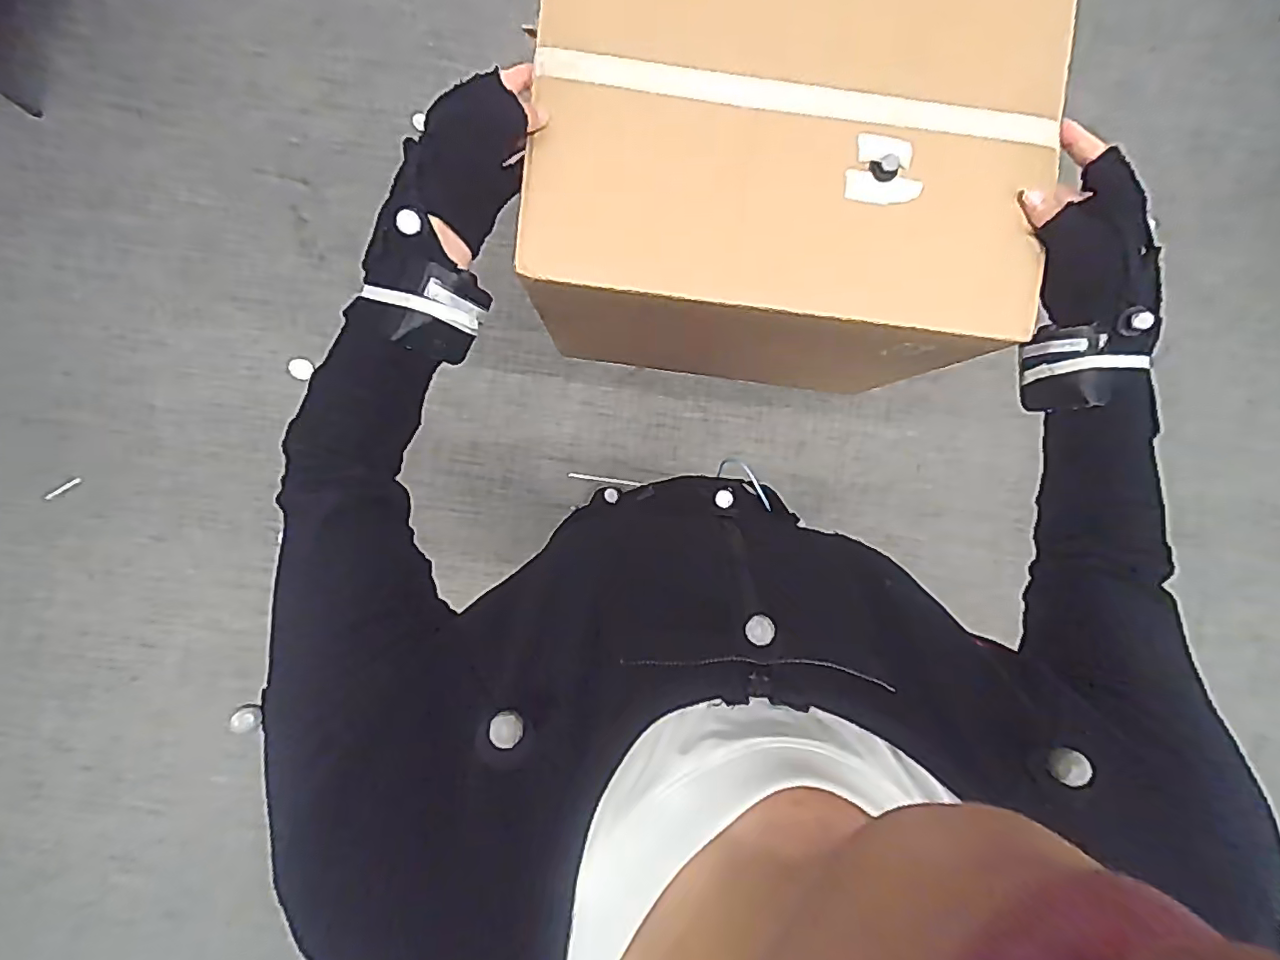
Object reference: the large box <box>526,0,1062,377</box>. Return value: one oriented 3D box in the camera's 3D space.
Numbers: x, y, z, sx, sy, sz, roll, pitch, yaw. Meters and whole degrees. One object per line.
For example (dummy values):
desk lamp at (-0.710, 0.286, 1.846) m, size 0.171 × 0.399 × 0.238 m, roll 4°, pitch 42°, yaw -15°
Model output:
large box at (0.116, -0.303, 0.567) m, size 0.408 × 0.320 × 0.320 m, roll 6°, pitch 93°, yaw -2°
